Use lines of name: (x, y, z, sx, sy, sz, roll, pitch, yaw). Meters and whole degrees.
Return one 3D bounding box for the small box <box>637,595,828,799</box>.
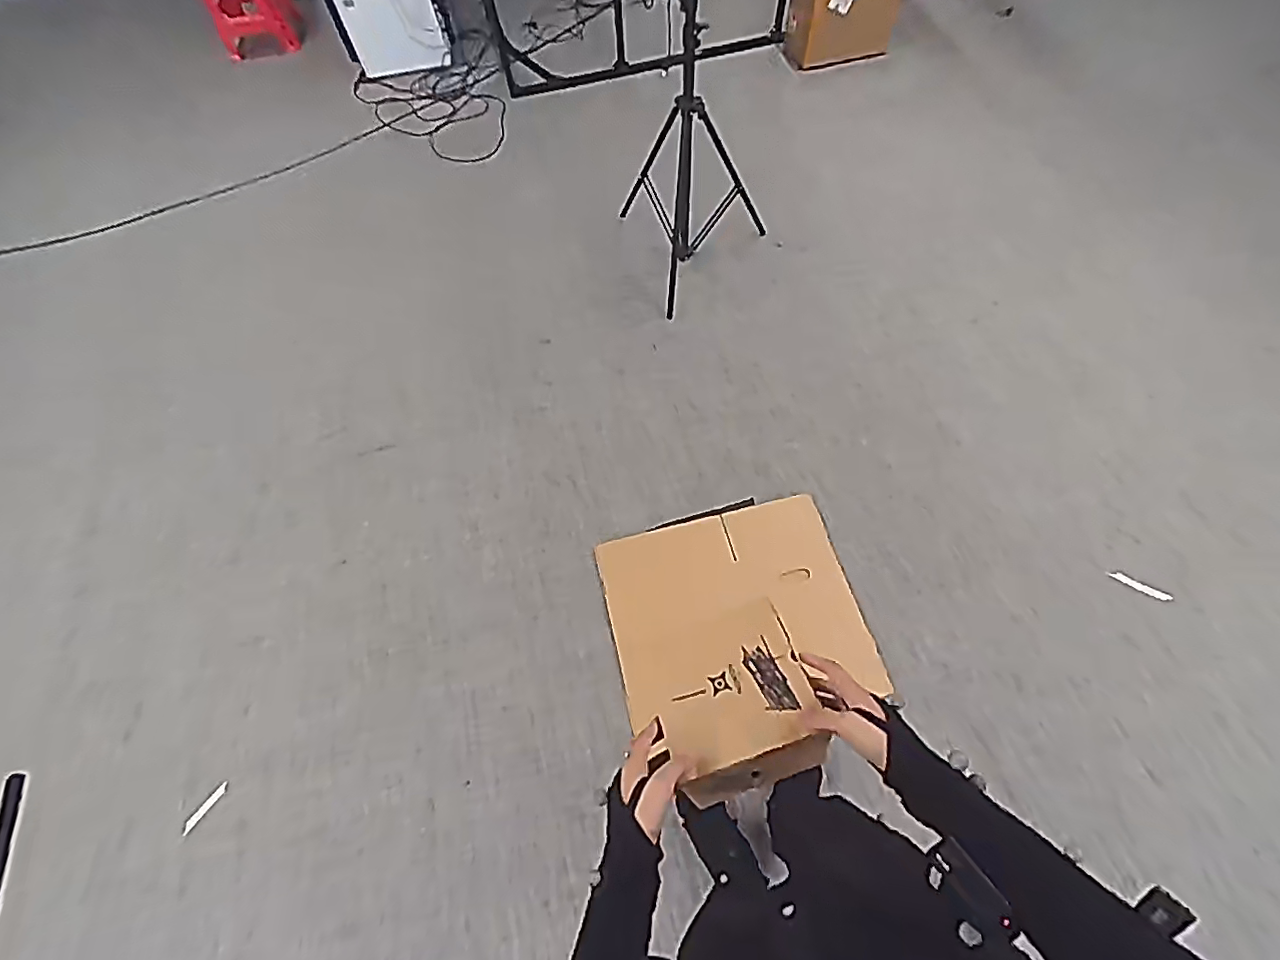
small box: (0.114, 0.277, 0.681, 0.179, 0.176, 0.168, -21, 50, 0)
